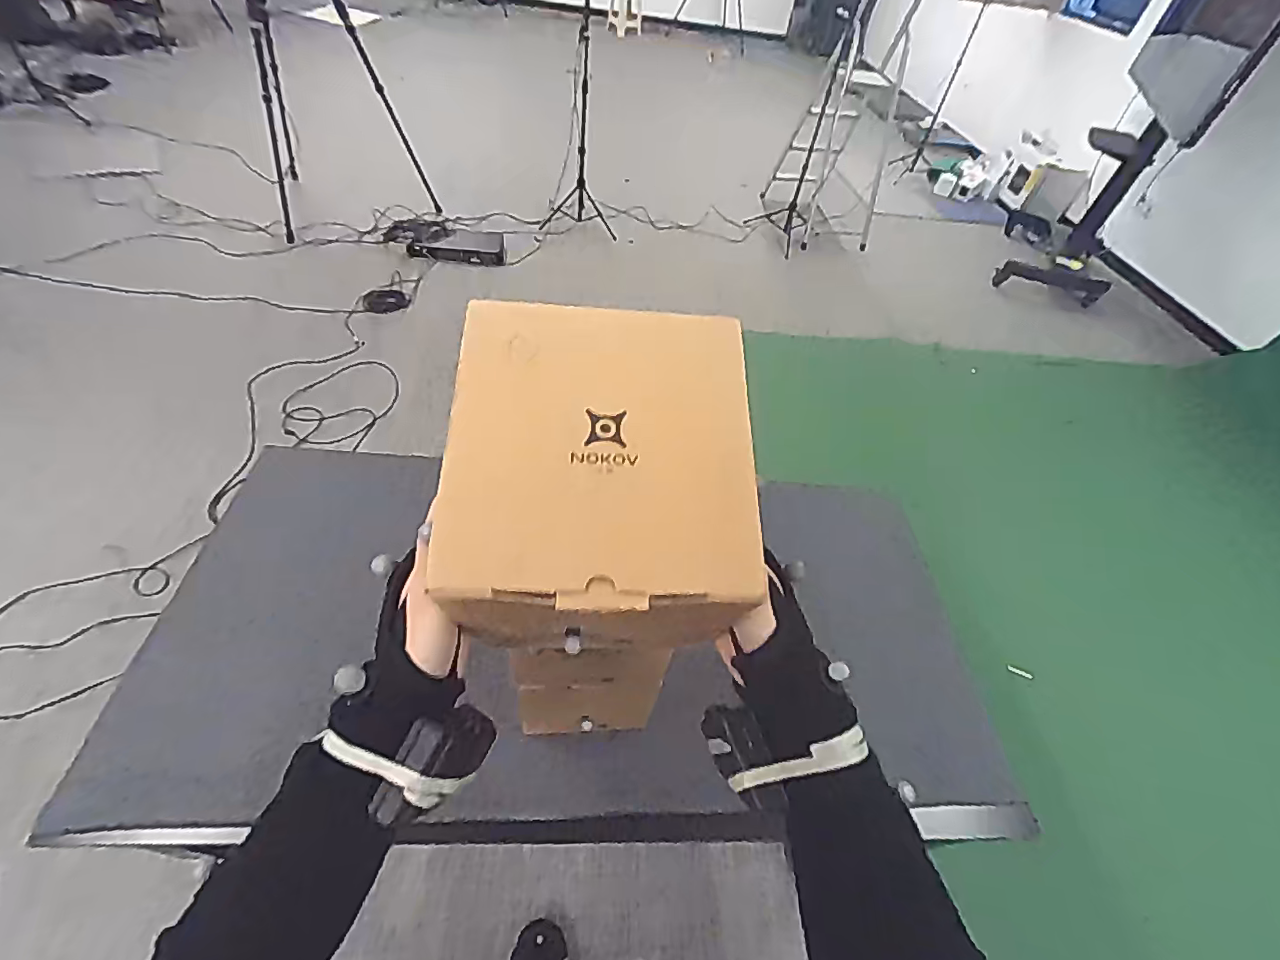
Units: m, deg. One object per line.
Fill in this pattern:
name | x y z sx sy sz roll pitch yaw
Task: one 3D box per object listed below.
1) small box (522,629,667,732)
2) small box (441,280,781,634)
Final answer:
small box | -0.066 0.213 0.715 0.168 0.176 0.179 1 48 -8
small box | -0.022 -0.002 0.363 0.168 0.176 0.179 2 65 -6
